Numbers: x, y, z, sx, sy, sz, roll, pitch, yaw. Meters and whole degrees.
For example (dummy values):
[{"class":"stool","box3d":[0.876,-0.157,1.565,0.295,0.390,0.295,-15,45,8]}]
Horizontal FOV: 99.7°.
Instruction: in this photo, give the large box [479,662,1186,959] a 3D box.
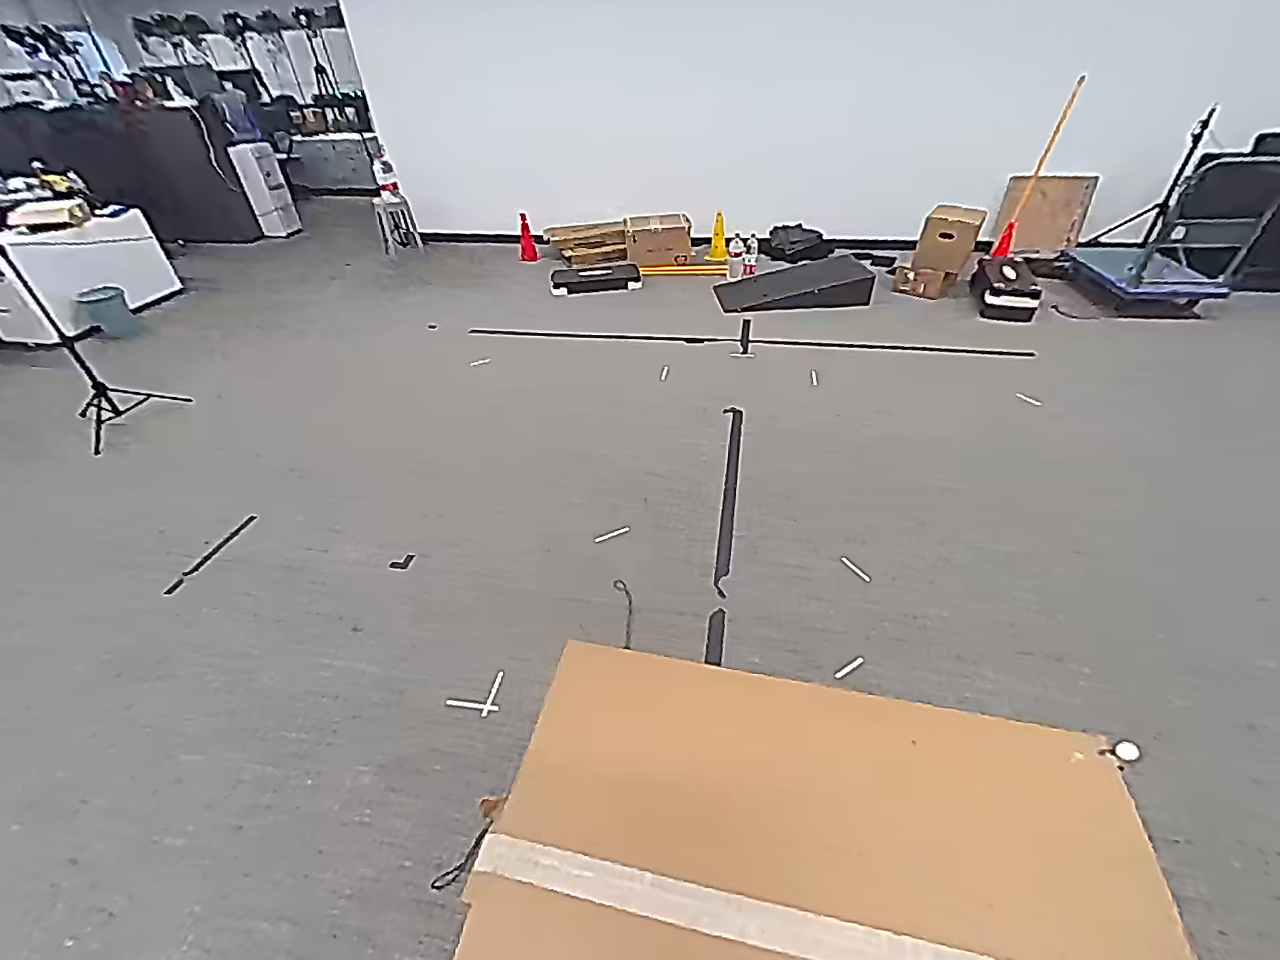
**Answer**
[{"class":"large box","box3d":[0.110,0.384,0.415,0.408,0.320,0.320,7,44,10]}]
